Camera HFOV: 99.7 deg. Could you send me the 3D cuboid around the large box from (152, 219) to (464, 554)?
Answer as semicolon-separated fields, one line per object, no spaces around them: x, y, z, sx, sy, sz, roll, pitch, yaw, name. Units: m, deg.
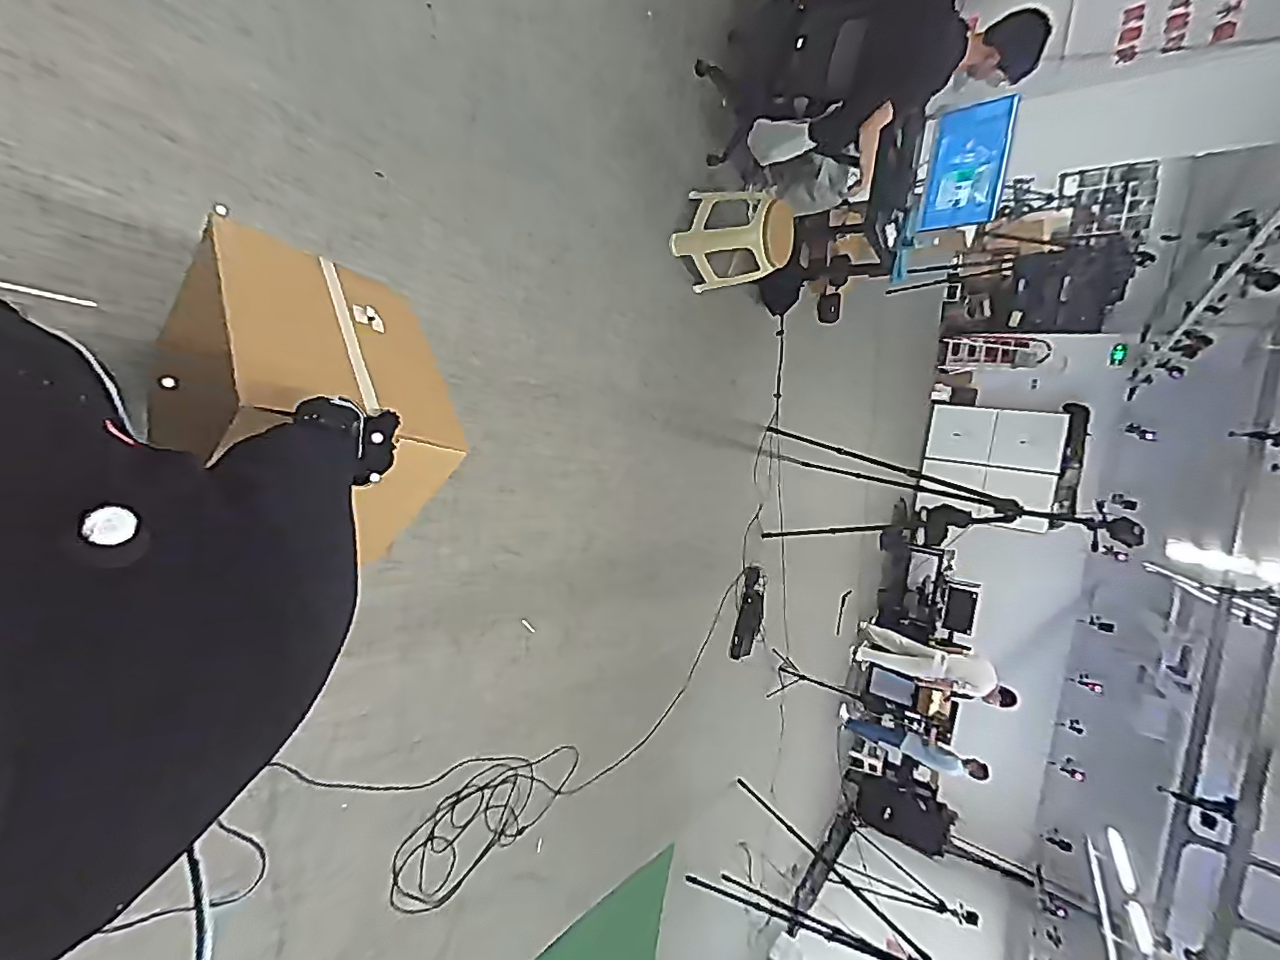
-0.559;-0.125;0.895;0.320;0.408;0.320;-43;150;22;large box
